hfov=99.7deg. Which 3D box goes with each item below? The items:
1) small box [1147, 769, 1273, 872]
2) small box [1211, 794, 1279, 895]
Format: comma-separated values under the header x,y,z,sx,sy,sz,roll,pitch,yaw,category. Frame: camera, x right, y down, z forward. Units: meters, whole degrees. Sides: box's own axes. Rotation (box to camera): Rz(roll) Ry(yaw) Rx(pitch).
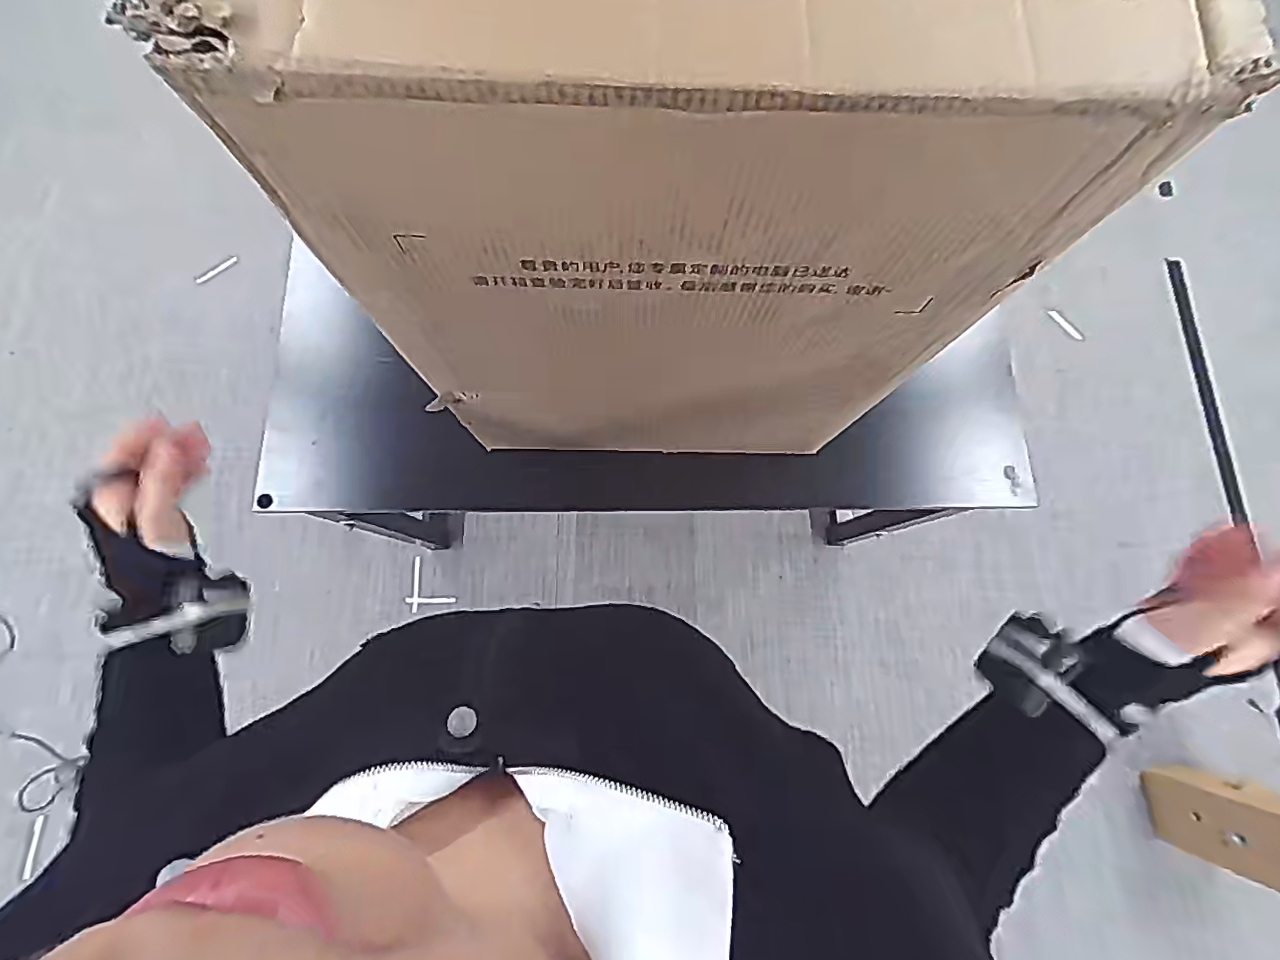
x,y,z,sx,sy,sz,roll,pitch,yaw,category
1.433,0.839,1.351,0.168,0.176,0.179,-3,78,-2,small box
1.439,0.807,1.190,0.179,0.176,0.168,0,77,-1,small box
